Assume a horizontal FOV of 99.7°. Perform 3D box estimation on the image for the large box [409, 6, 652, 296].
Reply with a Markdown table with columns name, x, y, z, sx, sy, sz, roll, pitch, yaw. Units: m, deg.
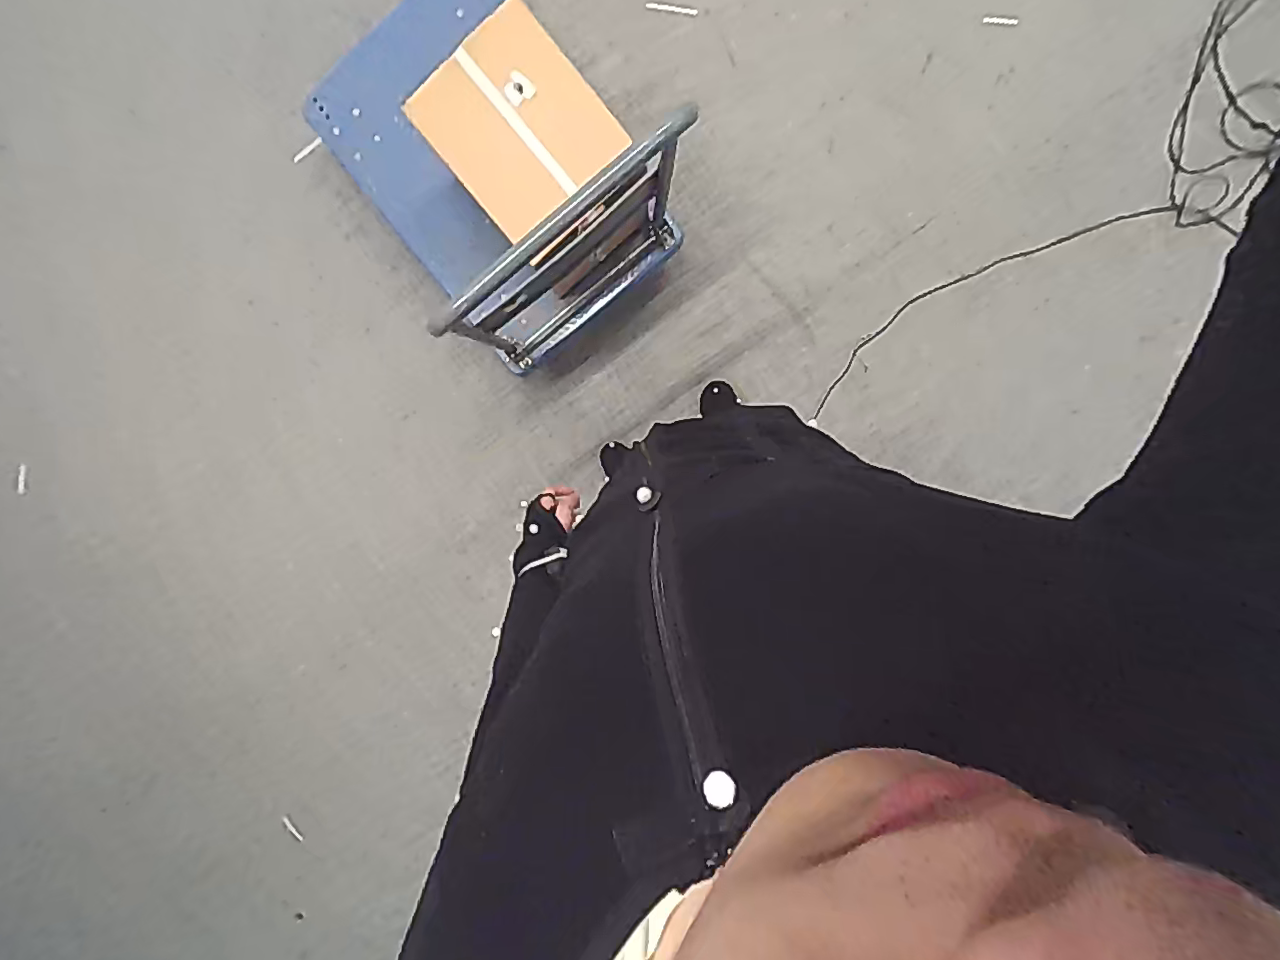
| name | x | y | z | sx | sy | sz | roll | pitch | yaw |
| --- | --- | --- | --- | --- | --- | --- | --- | --- | --- |
| large box | -0.216 | -0.699 | 1.229 | 0.320 | 0.320 | 0.408 | -40 | 94 | 6 |
